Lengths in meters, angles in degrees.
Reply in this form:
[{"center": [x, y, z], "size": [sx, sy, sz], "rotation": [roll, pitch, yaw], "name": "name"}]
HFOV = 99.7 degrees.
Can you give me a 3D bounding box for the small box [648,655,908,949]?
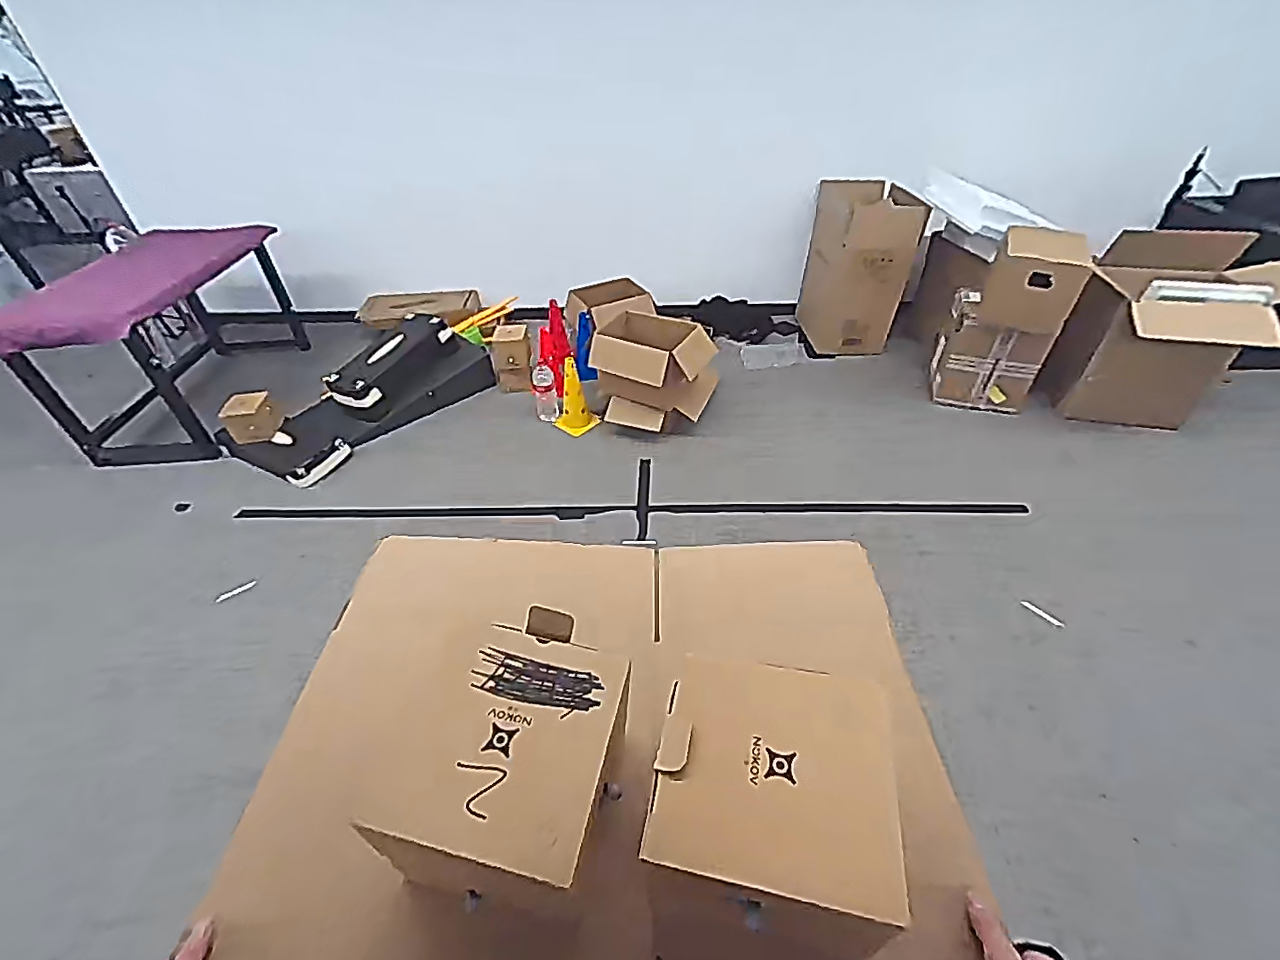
[{"center": [0.116, 0.282, 0.477], "size": [0.179, 0.176, 0.168], "rotation": [4, 43, 14], "name": "small box"}]
